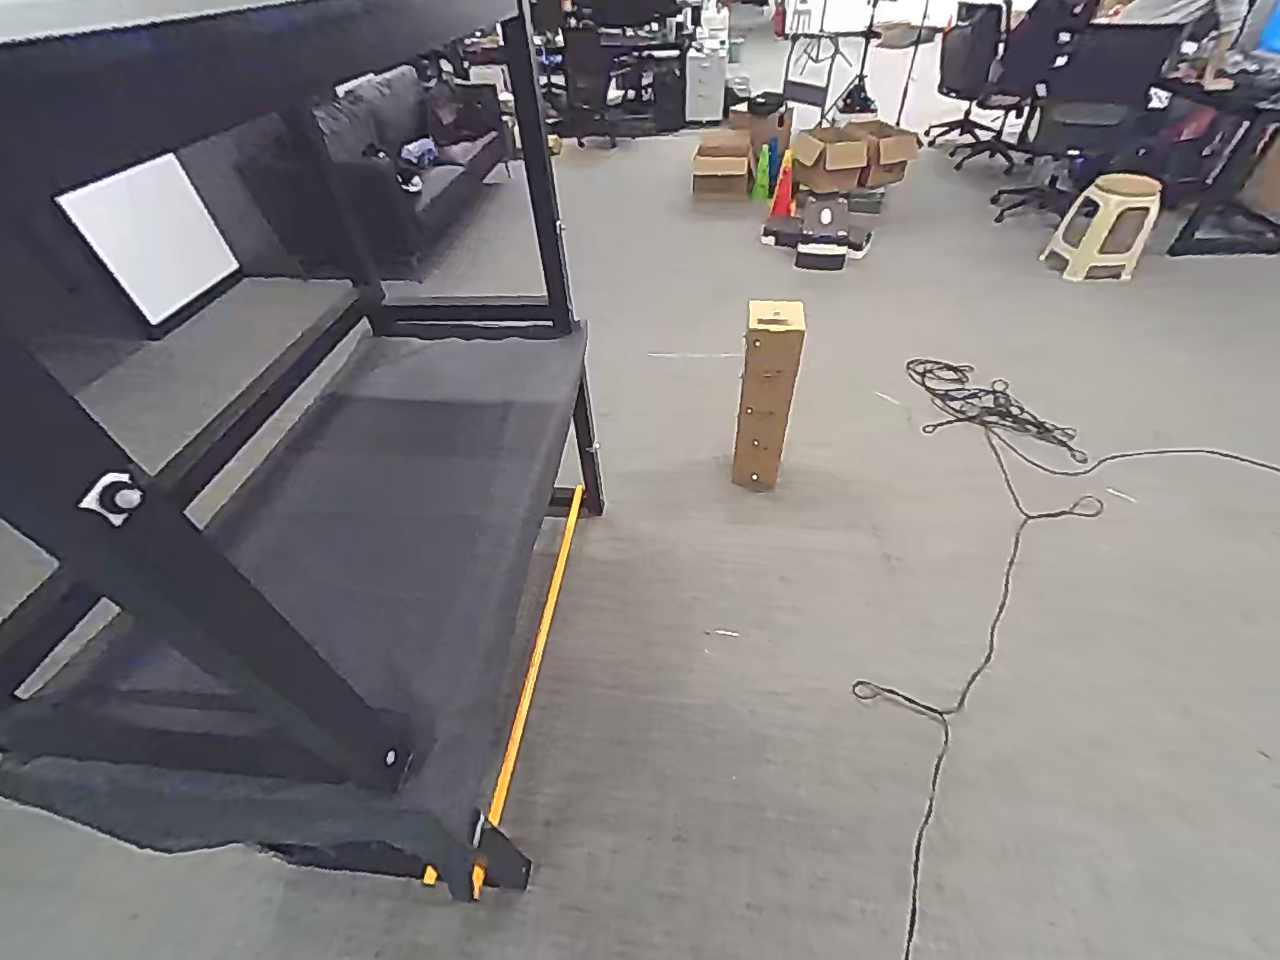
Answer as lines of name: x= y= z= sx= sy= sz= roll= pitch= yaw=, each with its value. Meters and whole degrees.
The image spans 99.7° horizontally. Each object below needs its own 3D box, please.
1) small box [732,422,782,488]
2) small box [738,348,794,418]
small box: x=0.443 y=-0.095 z=2.051 sx=0.168 sy=0.176 sz=0.179 roll=6 pitch=47 yaw=11
small box: x=0.423 y=-0.325 z=1.821 sx=0.168 sy=0.176 sz=0.179 roll=5 pitch=45 yaw=9
